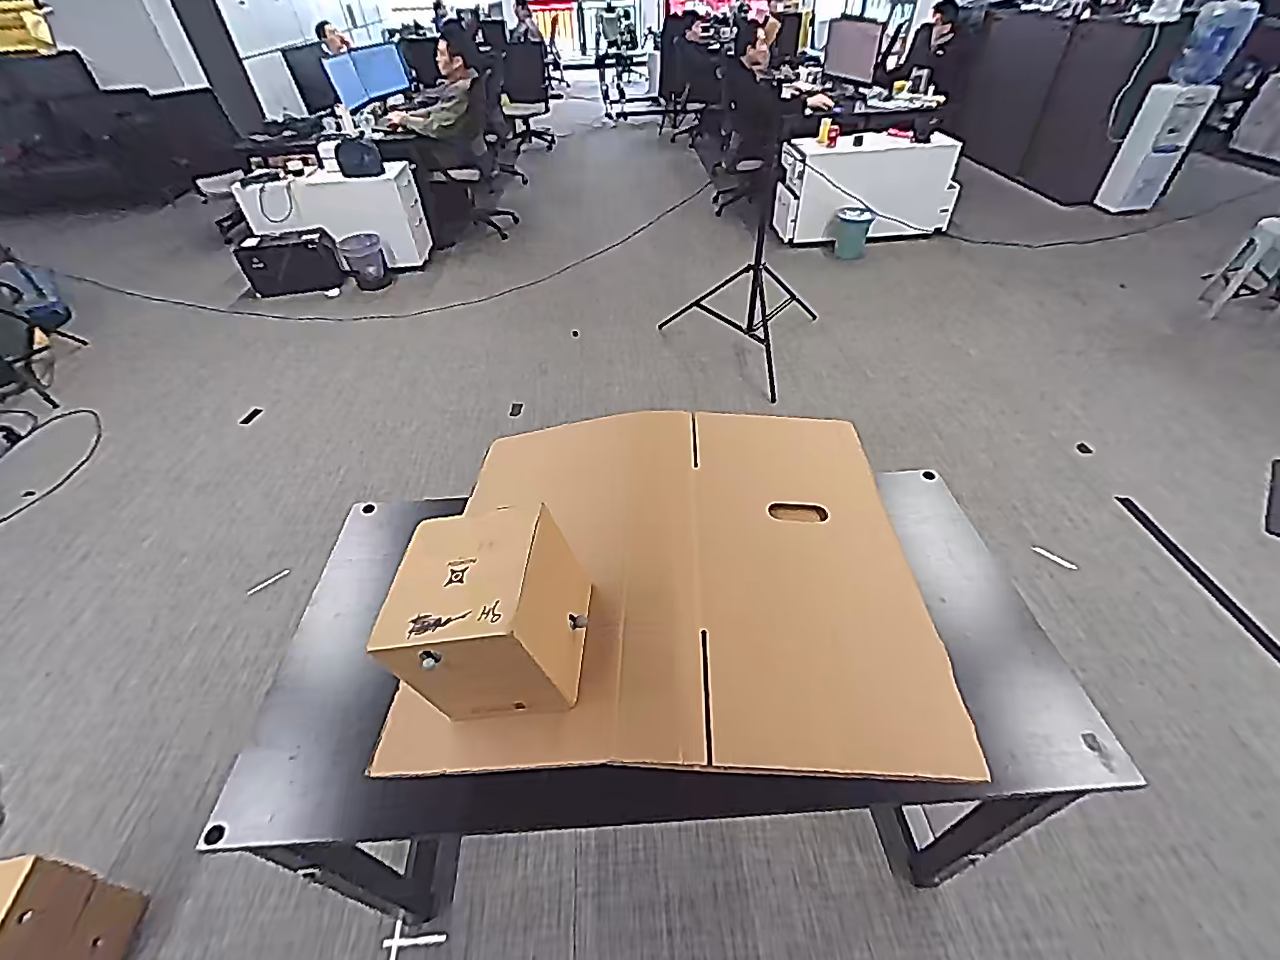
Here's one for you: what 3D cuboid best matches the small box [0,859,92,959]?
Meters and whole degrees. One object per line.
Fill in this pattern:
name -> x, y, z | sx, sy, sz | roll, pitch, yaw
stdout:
small box -> -1.206, 0.846, 1.012 | 0.168, 0.176, 0.179 | -8, 42, -6

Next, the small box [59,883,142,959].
small box -> -1.199, 0.969, 1.120 | 0.168, 0.176, 0.179 | -6, 44, -4

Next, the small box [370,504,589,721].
small box -> -0.167, 0.157, 0.636 | 0.168, 0.176, 0.179 | -11, 41, 13
